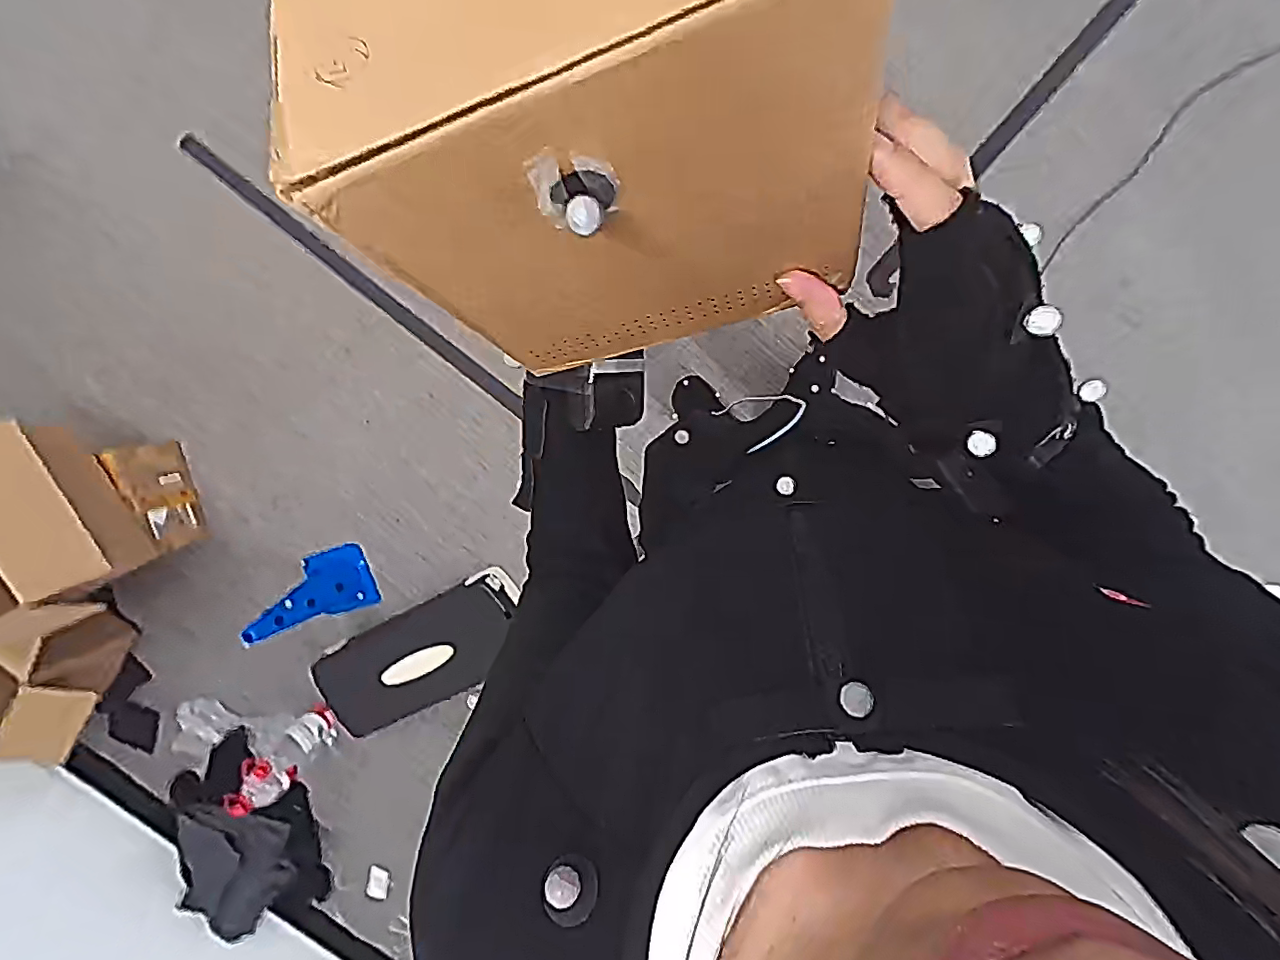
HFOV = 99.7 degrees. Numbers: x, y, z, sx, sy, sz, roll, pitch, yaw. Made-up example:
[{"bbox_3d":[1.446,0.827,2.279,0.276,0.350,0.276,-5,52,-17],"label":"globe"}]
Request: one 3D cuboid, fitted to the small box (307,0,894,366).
[{"bbox_3d":[-0.005,-0.164,0.232,0.179,0.176,0.168,-10,79,16],"label":"small box"}]
